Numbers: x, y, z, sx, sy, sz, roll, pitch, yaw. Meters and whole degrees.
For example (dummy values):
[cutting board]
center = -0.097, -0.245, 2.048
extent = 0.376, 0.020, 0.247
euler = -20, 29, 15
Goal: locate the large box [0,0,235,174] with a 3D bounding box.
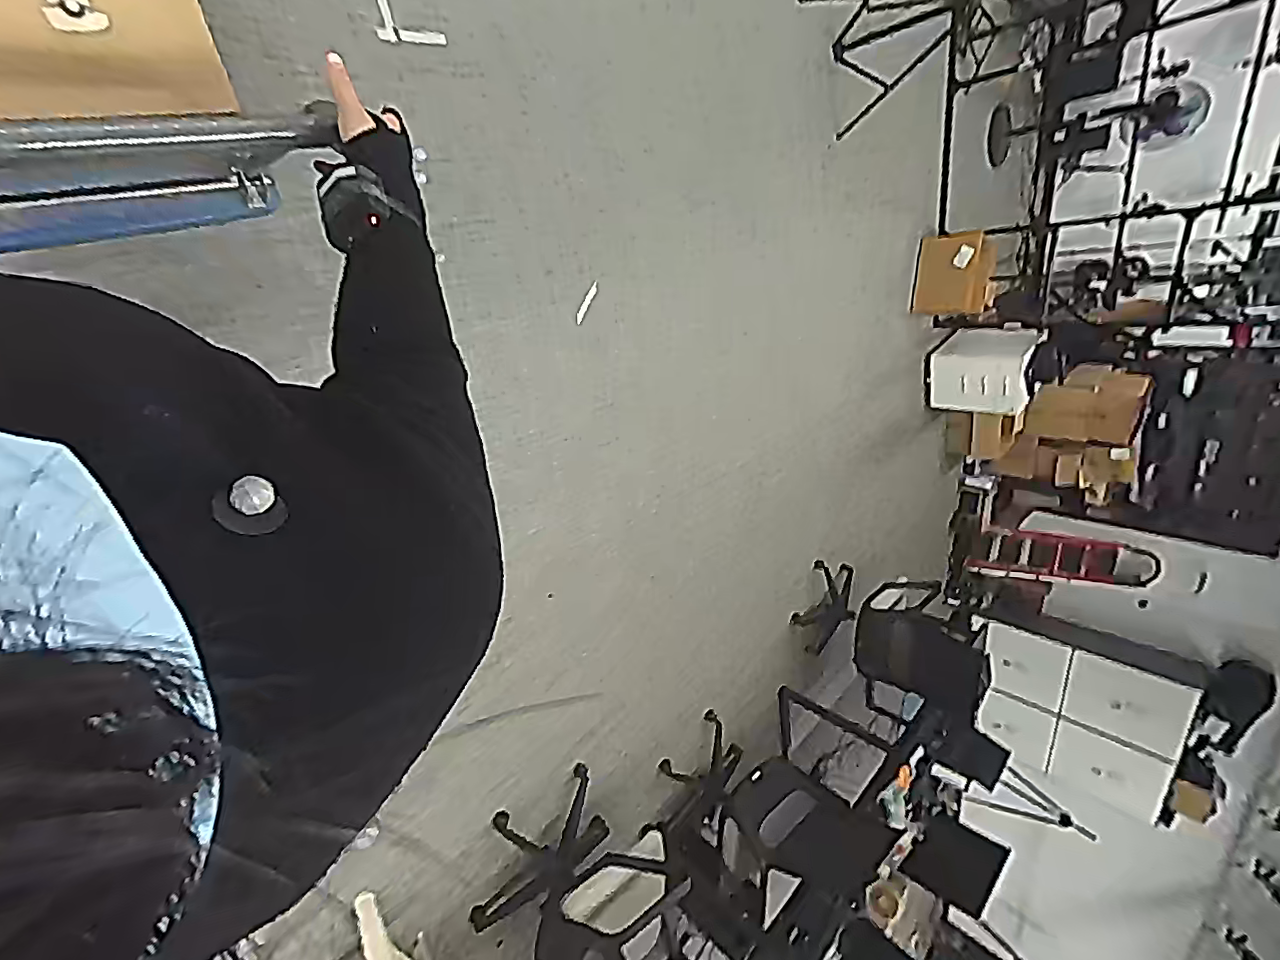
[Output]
[large box]
center = -0.855, -0.613, 0.709
extent = 0.408, 0.320, 0.320
euler = -31, 122, -36
